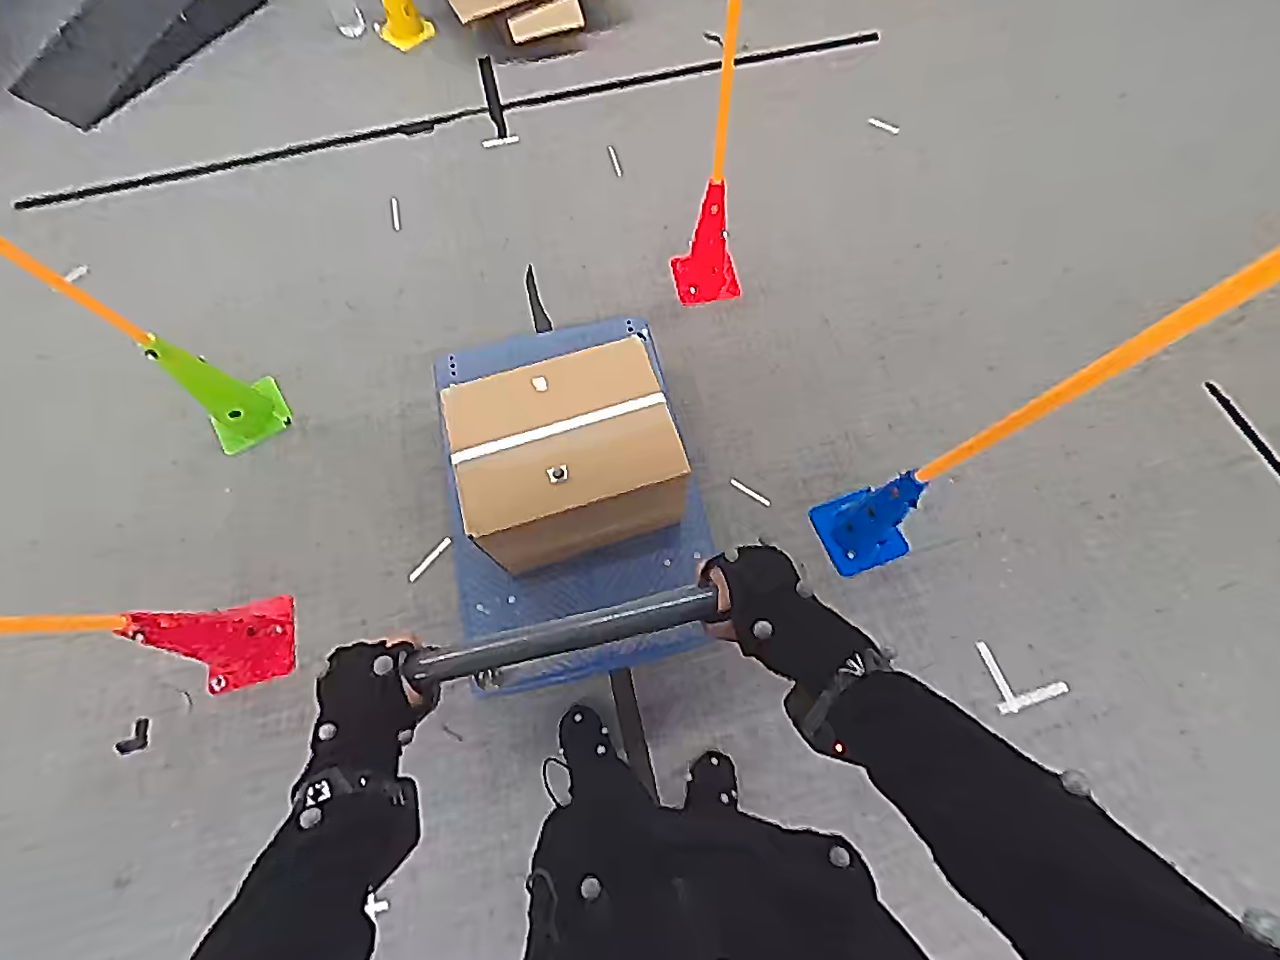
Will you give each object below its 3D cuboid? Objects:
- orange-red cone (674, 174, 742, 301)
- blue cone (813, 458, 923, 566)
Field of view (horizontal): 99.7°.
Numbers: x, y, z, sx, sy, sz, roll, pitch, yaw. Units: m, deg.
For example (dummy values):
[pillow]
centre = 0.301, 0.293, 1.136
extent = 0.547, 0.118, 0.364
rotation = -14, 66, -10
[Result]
[orange-red cone]
centre = 0.215, -0.724, 1.579
extent = 0.199, 0.360, 0.198
rotation = -8, 68, -3
[blue cone]
centre = 0.566, 0.055, 1.263
extent = 0.193, 0.380, 0.192
rotation = -18, 67, -6
